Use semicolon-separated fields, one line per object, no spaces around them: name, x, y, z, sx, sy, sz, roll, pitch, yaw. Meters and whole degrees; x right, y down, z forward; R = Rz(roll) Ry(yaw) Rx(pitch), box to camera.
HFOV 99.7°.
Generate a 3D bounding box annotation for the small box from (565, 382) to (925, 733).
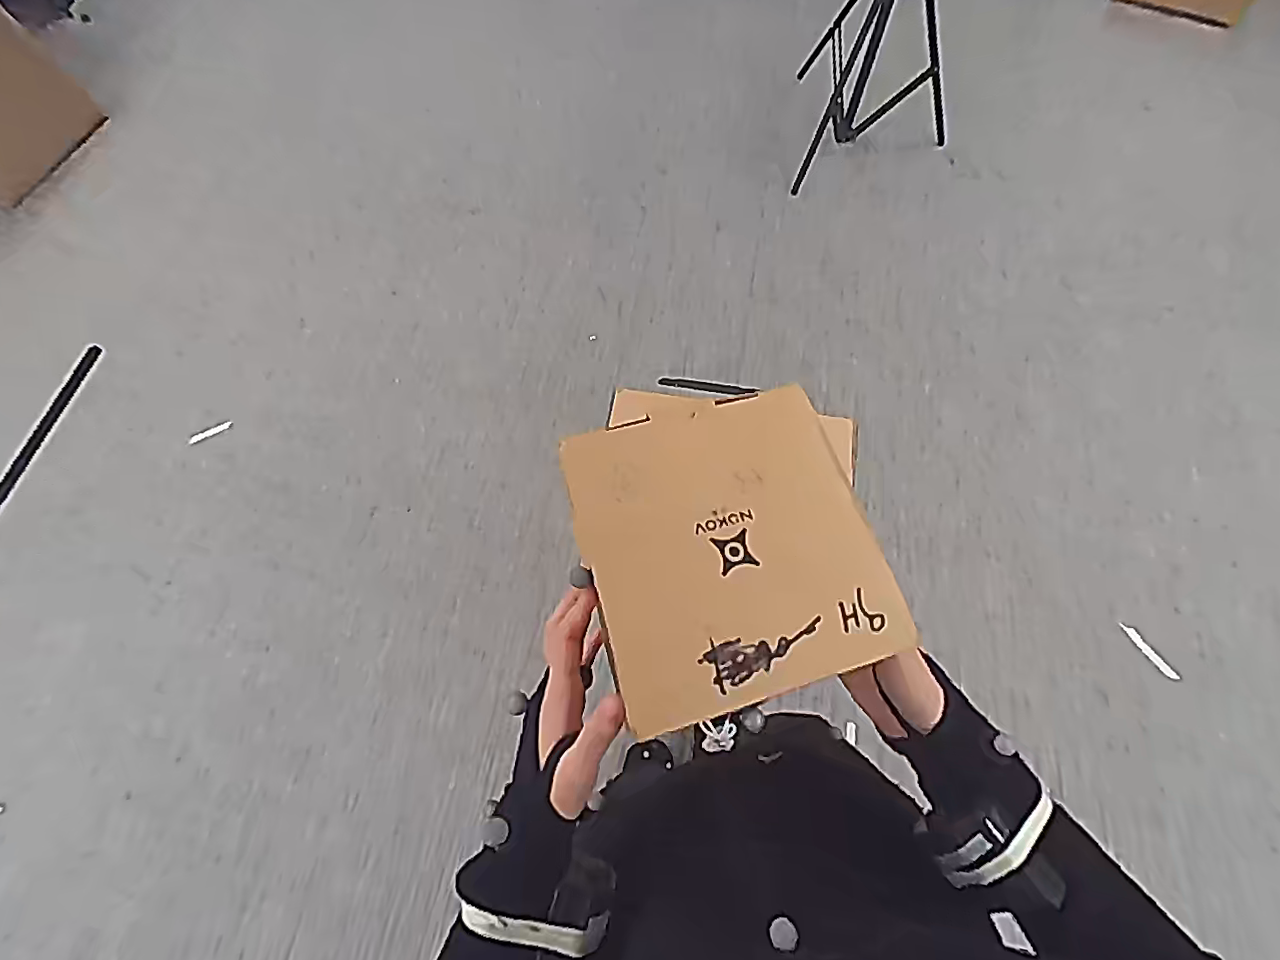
small box;0.049;0.062;0.383;0.168;0.176;0.179;-15;69;-8
